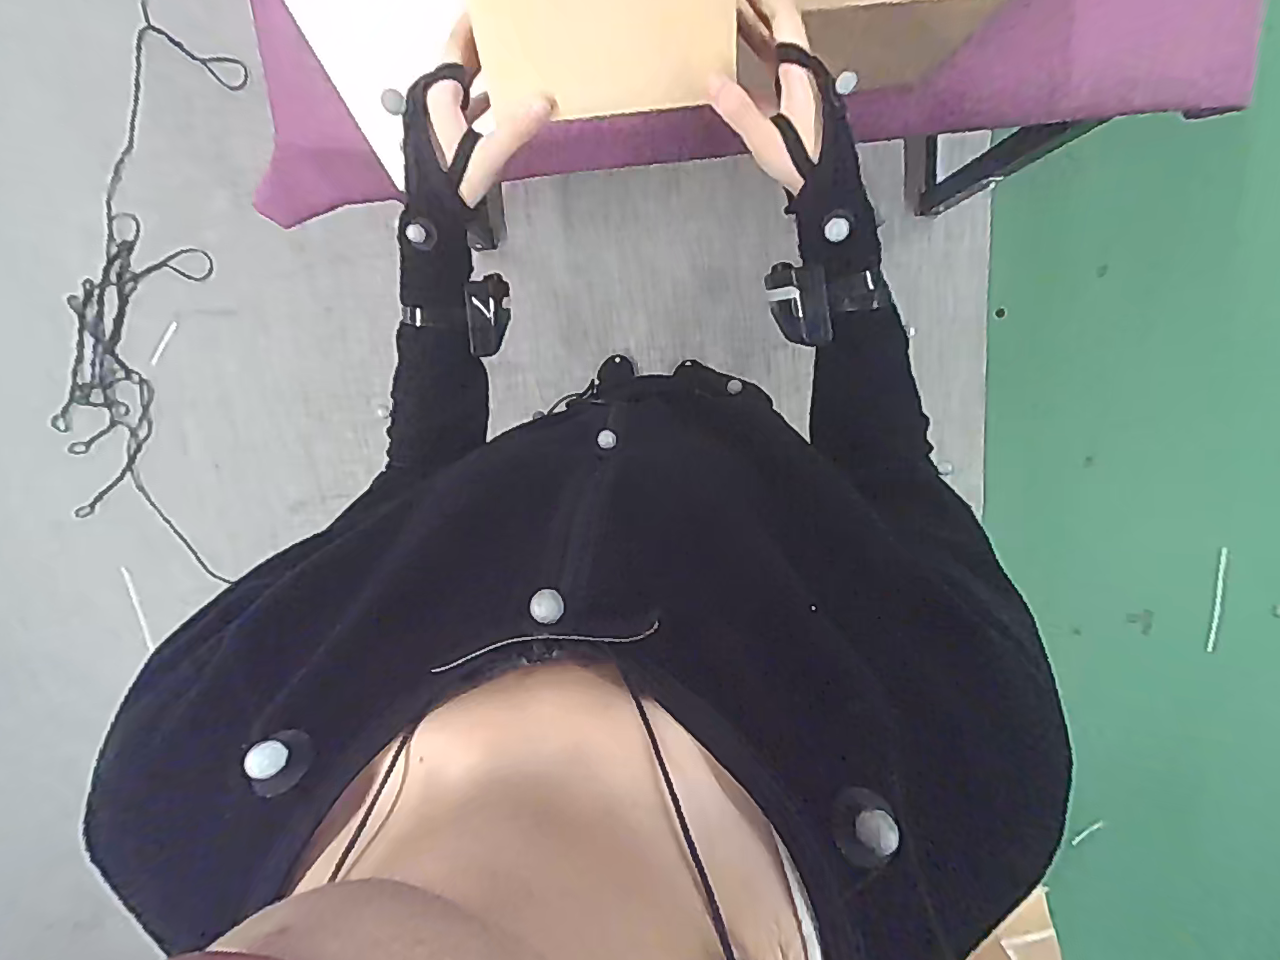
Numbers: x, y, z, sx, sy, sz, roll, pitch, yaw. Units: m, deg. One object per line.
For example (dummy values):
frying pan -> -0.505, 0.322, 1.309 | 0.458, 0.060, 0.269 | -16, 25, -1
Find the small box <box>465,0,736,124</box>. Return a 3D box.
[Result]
small box -> -0.019, -0.363, 0.358 | 0.168, 0.176, 0.179 | -1, 133, 9

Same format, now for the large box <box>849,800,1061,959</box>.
large box -> 0.890, 1.217, 1.565 | 0.408, 0.320, 0.320 | -19, 101, 4
